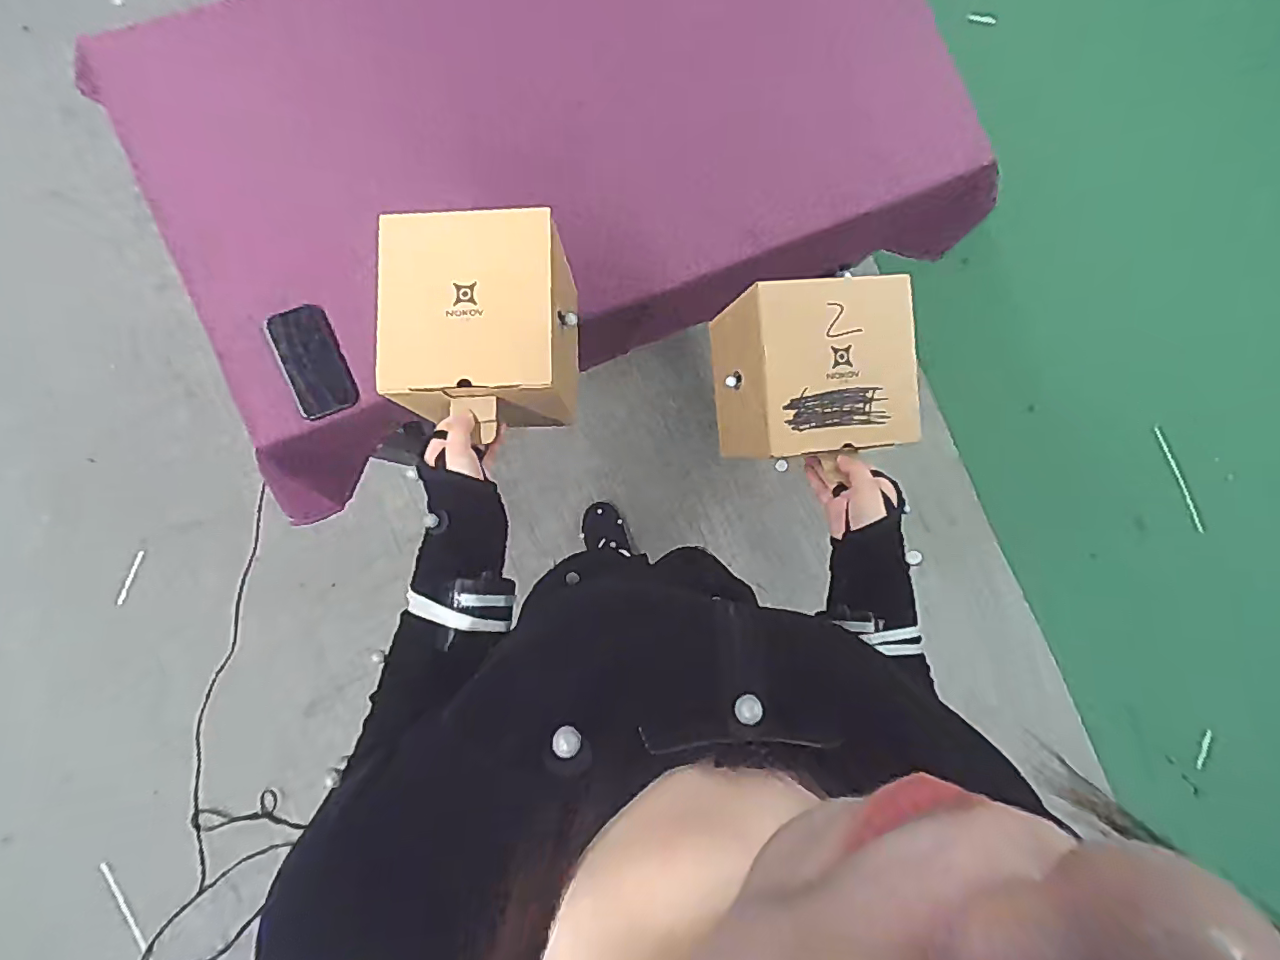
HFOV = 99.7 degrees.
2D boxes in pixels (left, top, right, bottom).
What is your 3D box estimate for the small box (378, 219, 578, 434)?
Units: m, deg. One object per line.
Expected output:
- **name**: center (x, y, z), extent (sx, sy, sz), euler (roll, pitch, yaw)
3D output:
- **small box**: center (-0.160, -0.153, 0.583), extent (0.168, 0.176, 0.179), euler (-2, 85, 1)
